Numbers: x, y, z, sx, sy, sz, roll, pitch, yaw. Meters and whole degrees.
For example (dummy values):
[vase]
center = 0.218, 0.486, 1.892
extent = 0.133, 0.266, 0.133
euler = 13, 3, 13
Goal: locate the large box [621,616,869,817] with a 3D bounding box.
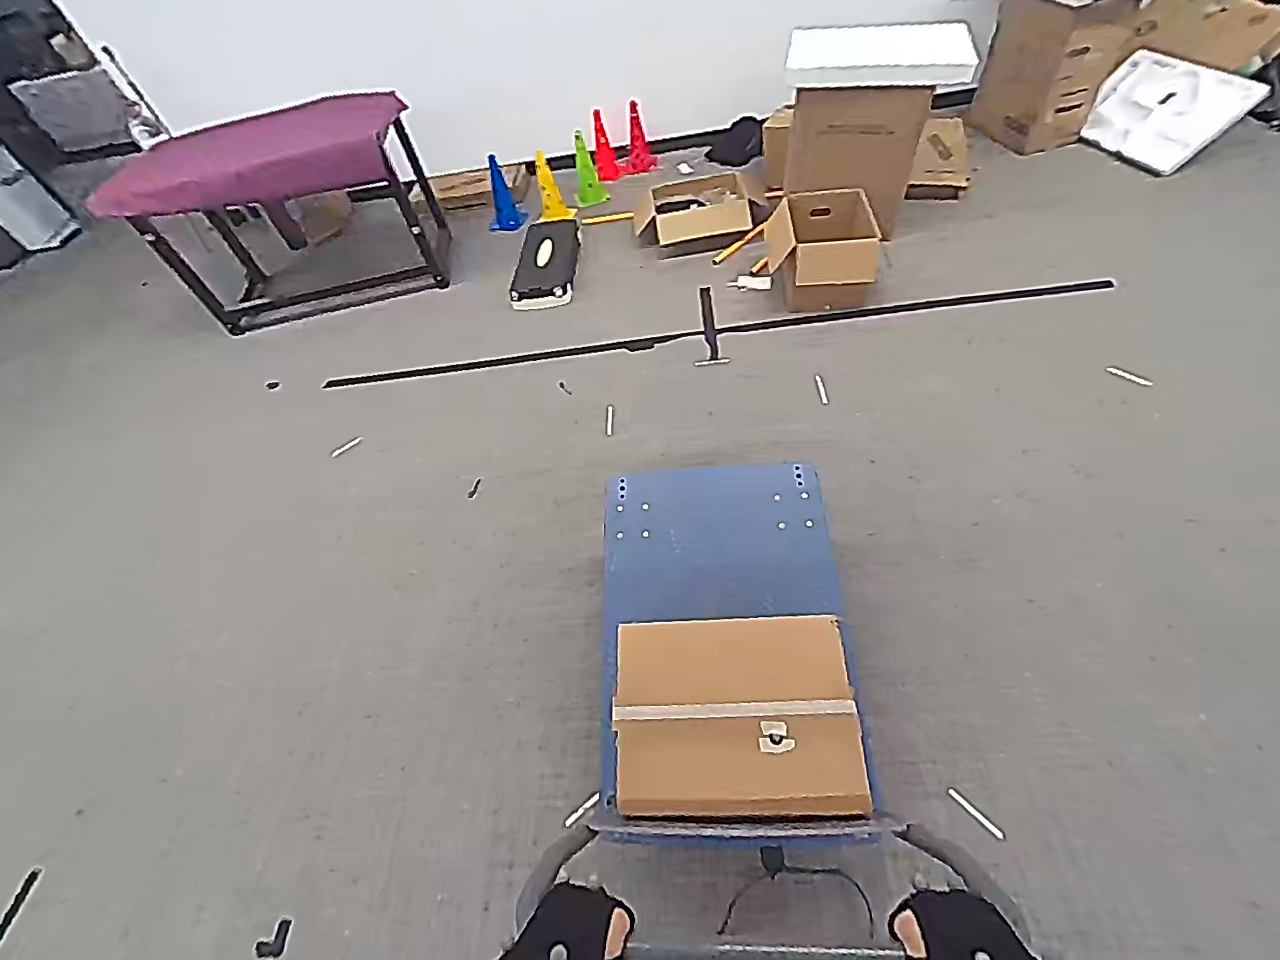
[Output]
[large box]
center = 0.180, 0.475, 1.076
extent = 0.408, 0.320, 0.320
euler = -4, 61, 5
